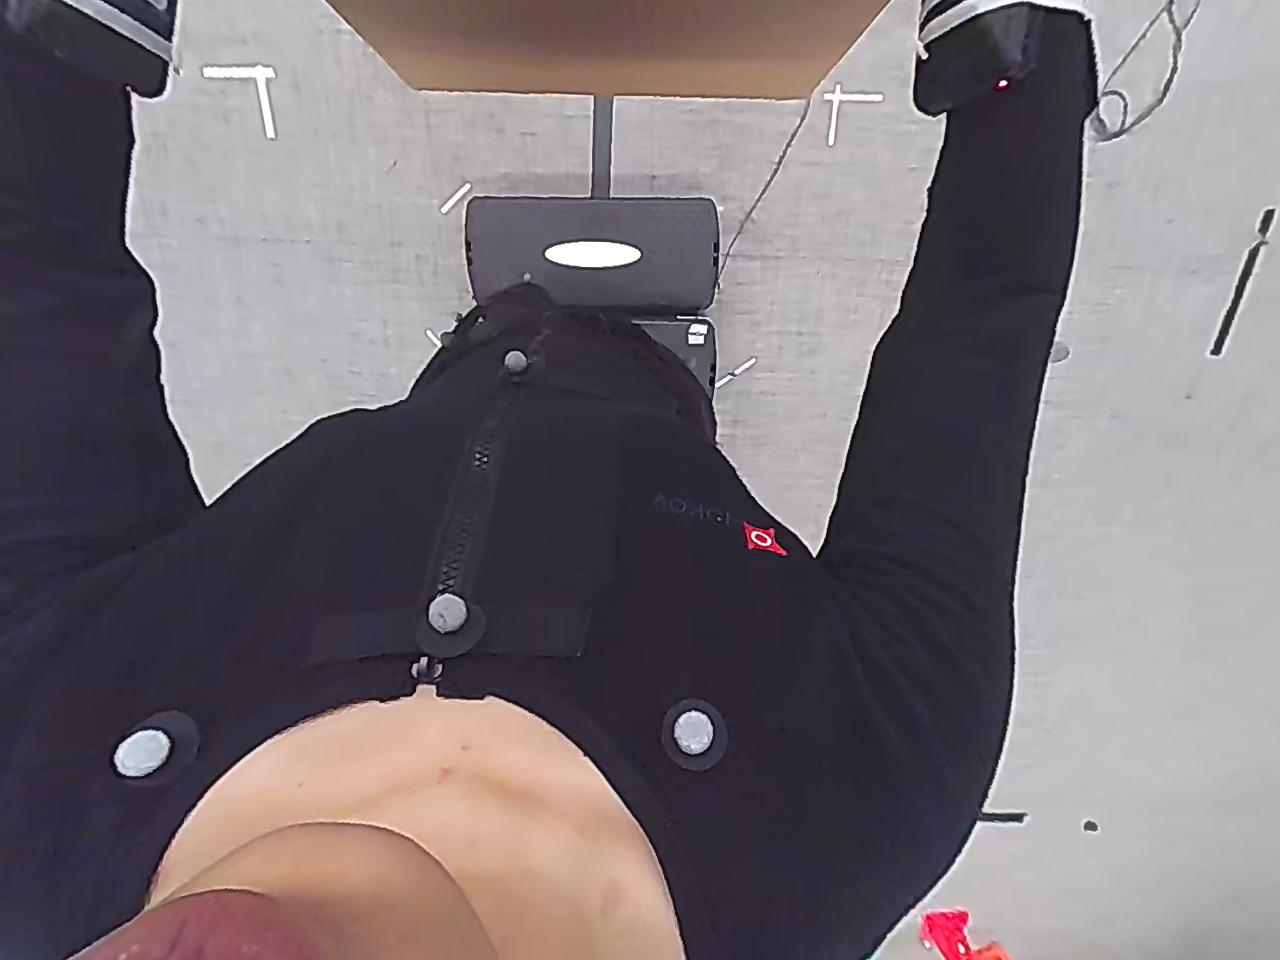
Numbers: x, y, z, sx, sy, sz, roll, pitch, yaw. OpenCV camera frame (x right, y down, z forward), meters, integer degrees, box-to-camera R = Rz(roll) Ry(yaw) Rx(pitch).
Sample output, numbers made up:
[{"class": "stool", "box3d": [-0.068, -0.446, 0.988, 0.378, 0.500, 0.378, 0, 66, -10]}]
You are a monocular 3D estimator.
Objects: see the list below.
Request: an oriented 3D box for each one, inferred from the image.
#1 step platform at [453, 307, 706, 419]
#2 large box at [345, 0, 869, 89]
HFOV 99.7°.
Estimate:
[{"class": "step platform", "box3d": [-0.160, -0.325, 1.502, 0.684, 0.204, 0.286, 1, 108, 0]}, {"class": "large box", "box3d": [-0.025, -0.500, 0.363, 0.408, 0.320, 0.320, -1, 108, -2]}]
